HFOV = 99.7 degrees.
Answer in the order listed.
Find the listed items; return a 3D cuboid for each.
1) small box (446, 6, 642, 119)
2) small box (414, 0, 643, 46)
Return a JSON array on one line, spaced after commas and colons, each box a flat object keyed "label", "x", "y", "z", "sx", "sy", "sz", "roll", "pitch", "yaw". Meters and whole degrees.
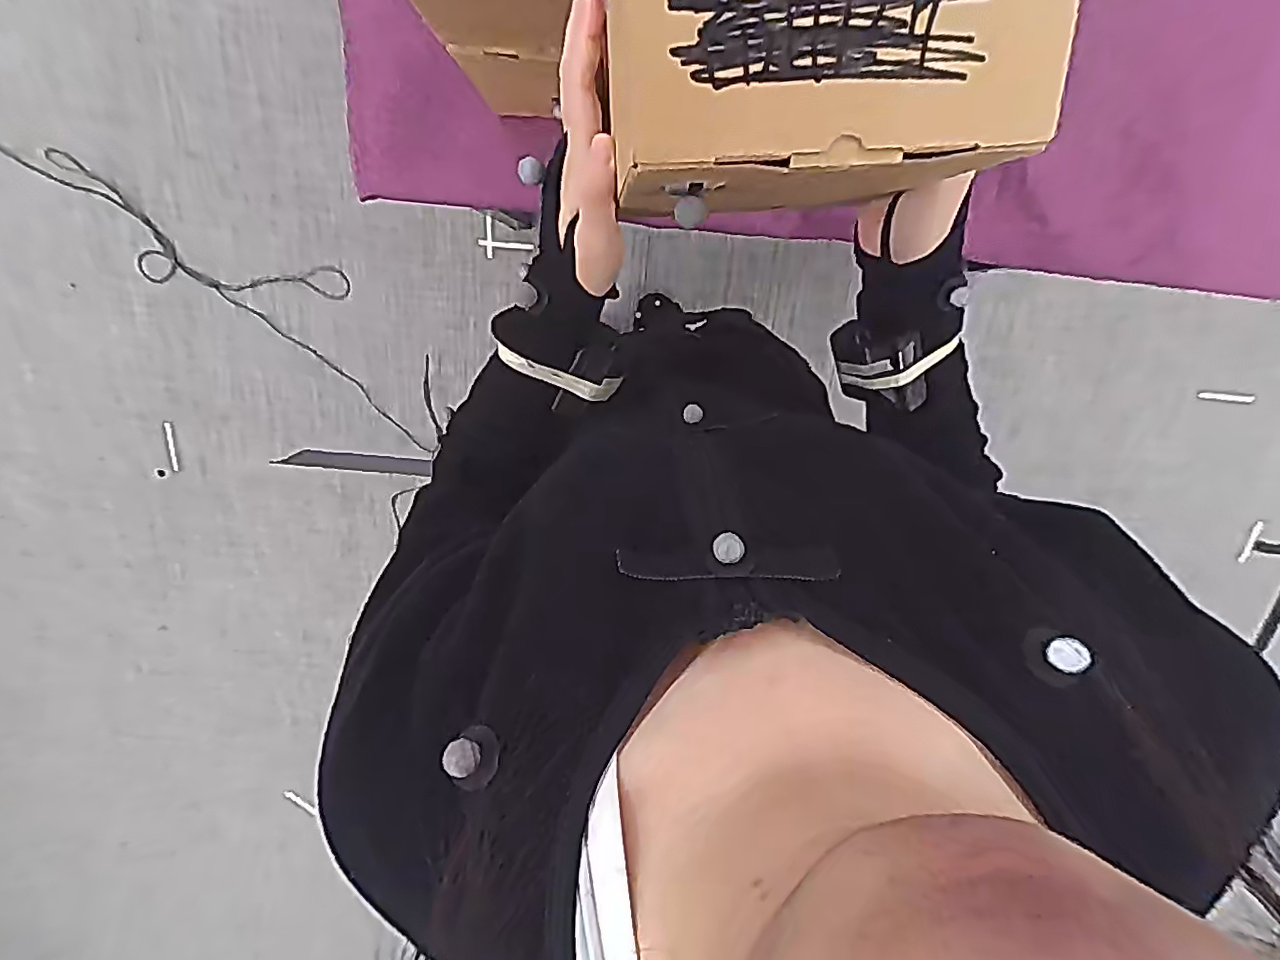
[{"label": "small box", "x": -0.082, "y": -0.472, "z": 0.511, "sx": 0.168, "sy": 0.176, "sz": 0.179, "roll": 2, "pitch": 109, "yaw": -1}, {"label": "small box", "x": -0.081, "y": -0.422, "z": 0.357, "sx": 0.179, "sy": 0.176, "sz": 0.168, "roll": 1, "pitch": 107, "yaw": 0}]
